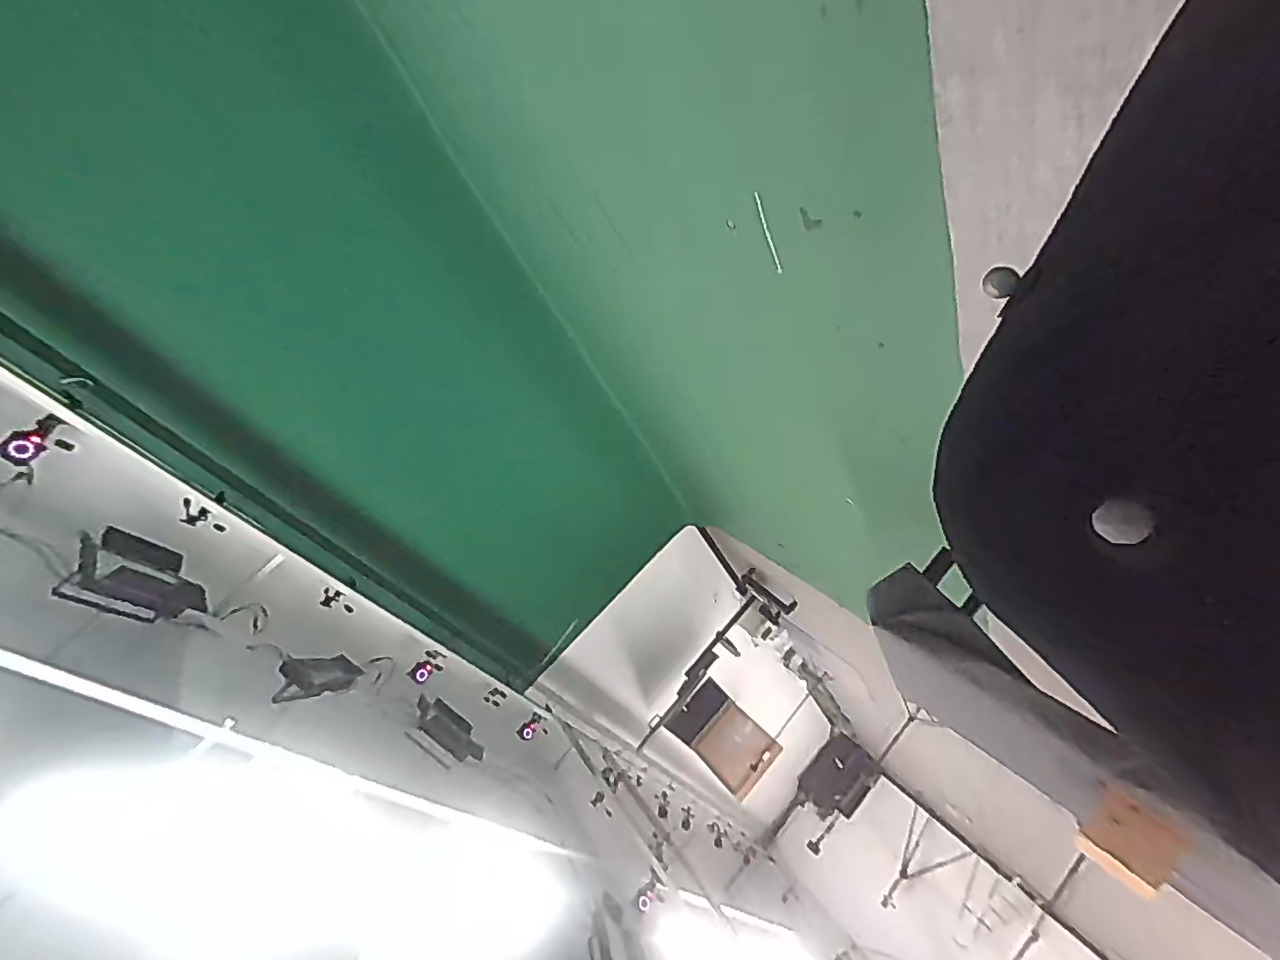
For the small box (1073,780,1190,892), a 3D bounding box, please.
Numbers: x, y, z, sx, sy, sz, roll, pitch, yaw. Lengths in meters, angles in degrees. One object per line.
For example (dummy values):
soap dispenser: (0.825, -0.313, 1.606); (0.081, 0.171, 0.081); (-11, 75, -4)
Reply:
small box: (1.261, 0.910, 1.392); (0.168, 0.176, 0.179); (34, 166, 48)
